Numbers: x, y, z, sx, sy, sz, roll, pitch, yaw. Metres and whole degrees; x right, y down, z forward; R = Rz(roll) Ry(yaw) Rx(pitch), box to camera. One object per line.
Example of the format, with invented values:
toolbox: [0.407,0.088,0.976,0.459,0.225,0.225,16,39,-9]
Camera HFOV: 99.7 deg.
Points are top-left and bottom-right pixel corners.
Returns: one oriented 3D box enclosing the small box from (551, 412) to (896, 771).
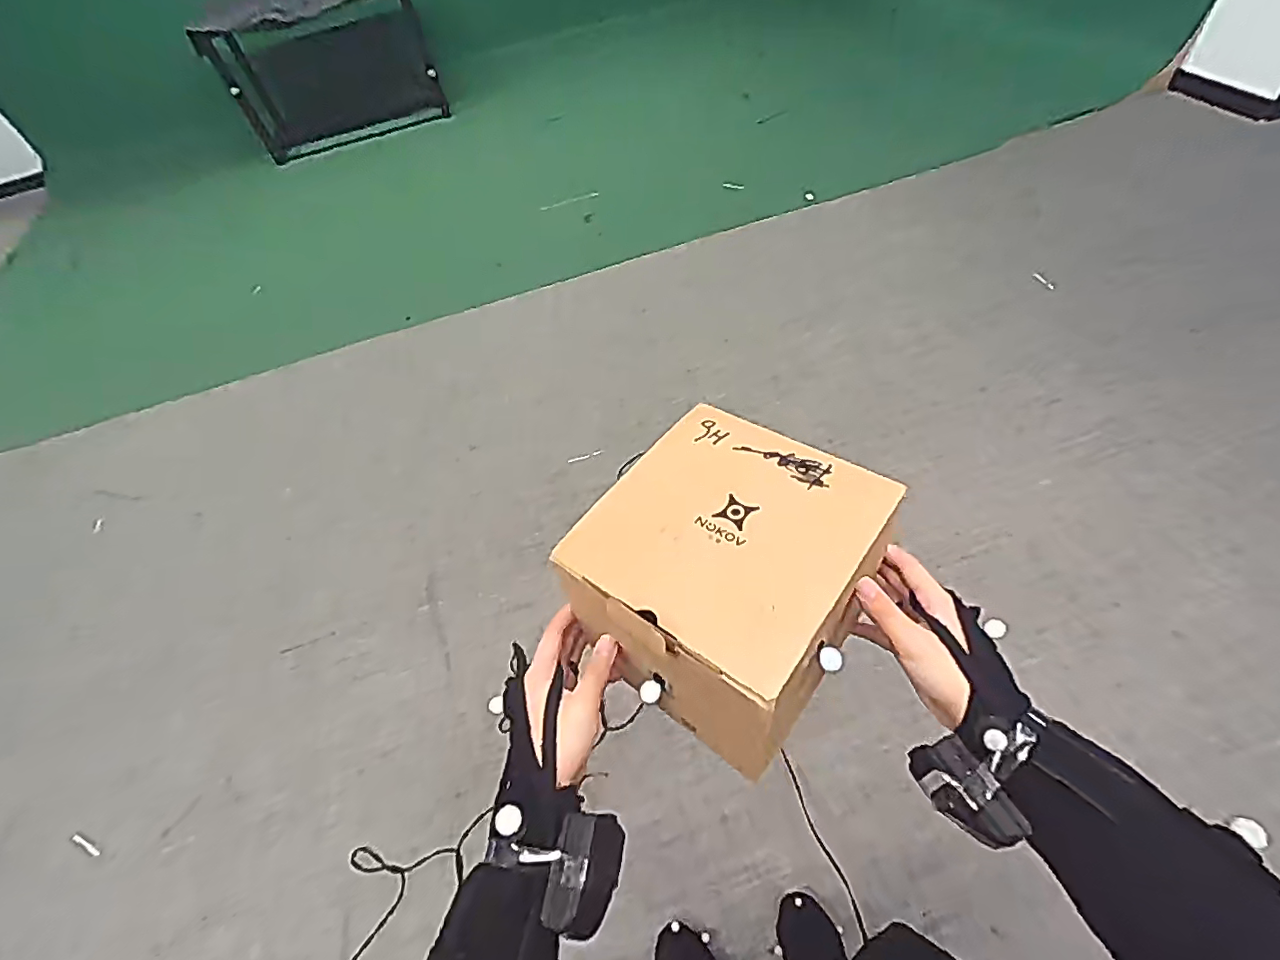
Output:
small box: [0.066,0.085,0.415,0.168,0.176,0.179,28,60,29]
